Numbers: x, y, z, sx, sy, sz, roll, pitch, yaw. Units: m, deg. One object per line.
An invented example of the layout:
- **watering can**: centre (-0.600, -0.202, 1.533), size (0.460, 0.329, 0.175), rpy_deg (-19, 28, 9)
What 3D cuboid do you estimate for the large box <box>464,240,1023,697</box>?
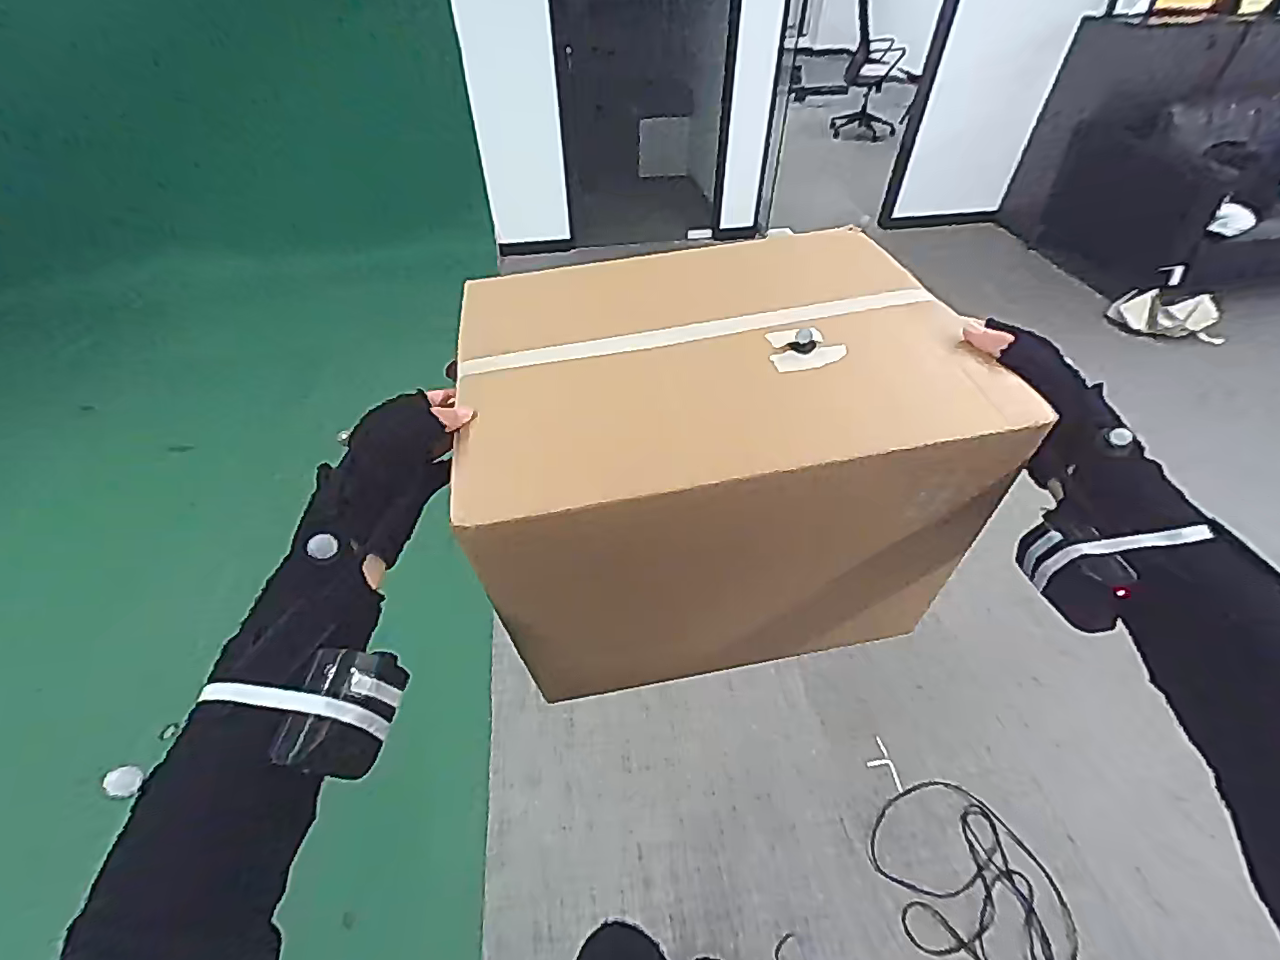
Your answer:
- **large box**: centre (0.059, -0.013, 0.572), size (0.408, 0.320, 0.320), rpy_deg (-10, 49, -4)
